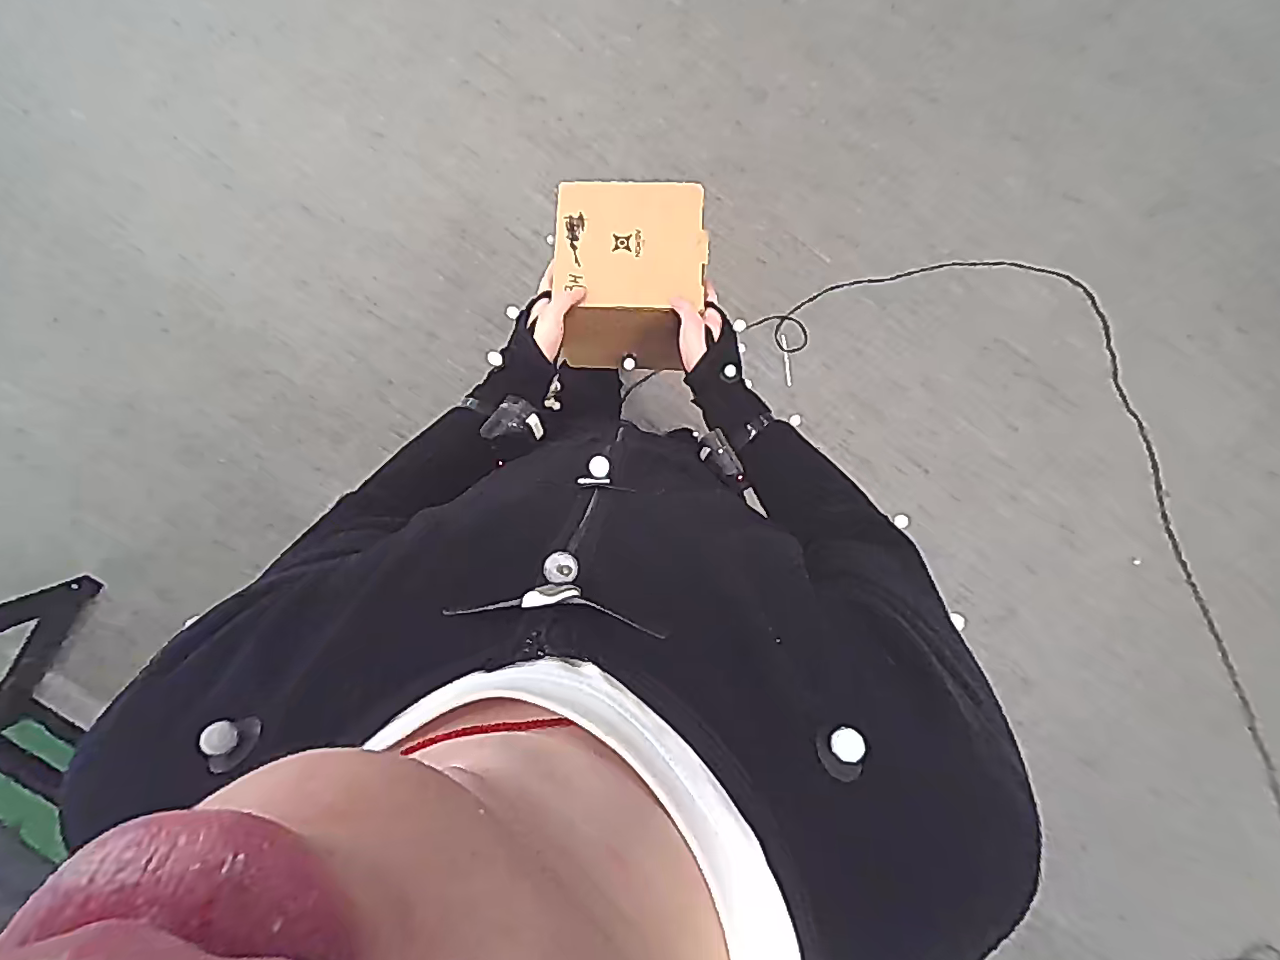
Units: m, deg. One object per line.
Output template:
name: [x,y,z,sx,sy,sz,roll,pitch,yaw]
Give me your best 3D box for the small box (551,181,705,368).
small box: [-0.013,-0.257,0.708,0.179,0.176,0.168,2,77,0]
